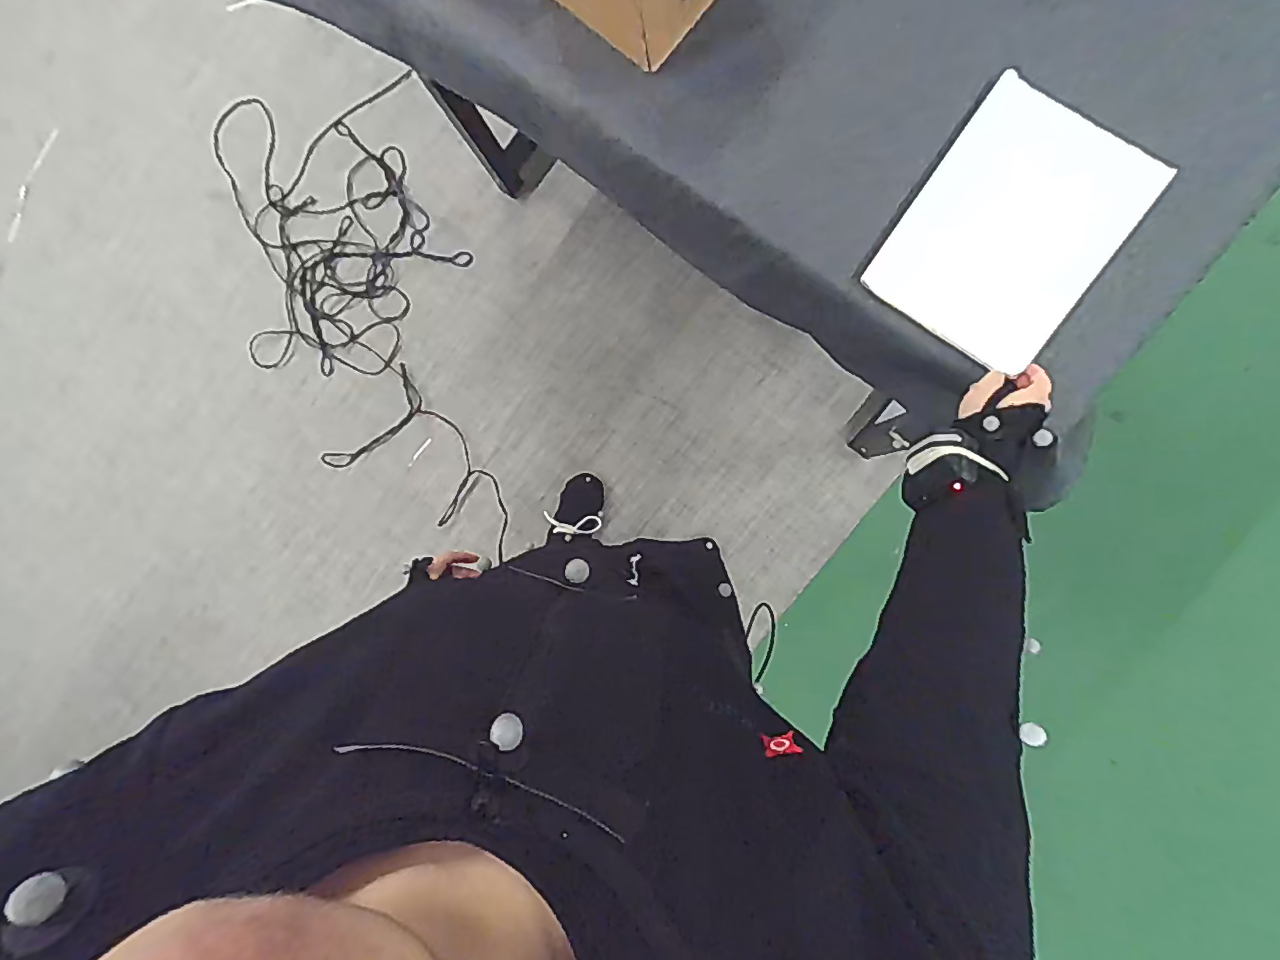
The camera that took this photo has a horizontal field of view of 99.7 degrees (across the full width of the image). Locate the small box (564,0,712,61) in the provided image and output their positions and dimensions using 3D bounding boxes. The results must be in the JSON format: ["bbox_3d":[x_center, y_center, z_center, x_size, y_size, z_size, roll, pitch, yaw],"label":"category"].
[{"bbox_3d":[-0.007,-0.597,0.558,0.179,0.176,0.168,42,94,6],"label":"small box"}]
